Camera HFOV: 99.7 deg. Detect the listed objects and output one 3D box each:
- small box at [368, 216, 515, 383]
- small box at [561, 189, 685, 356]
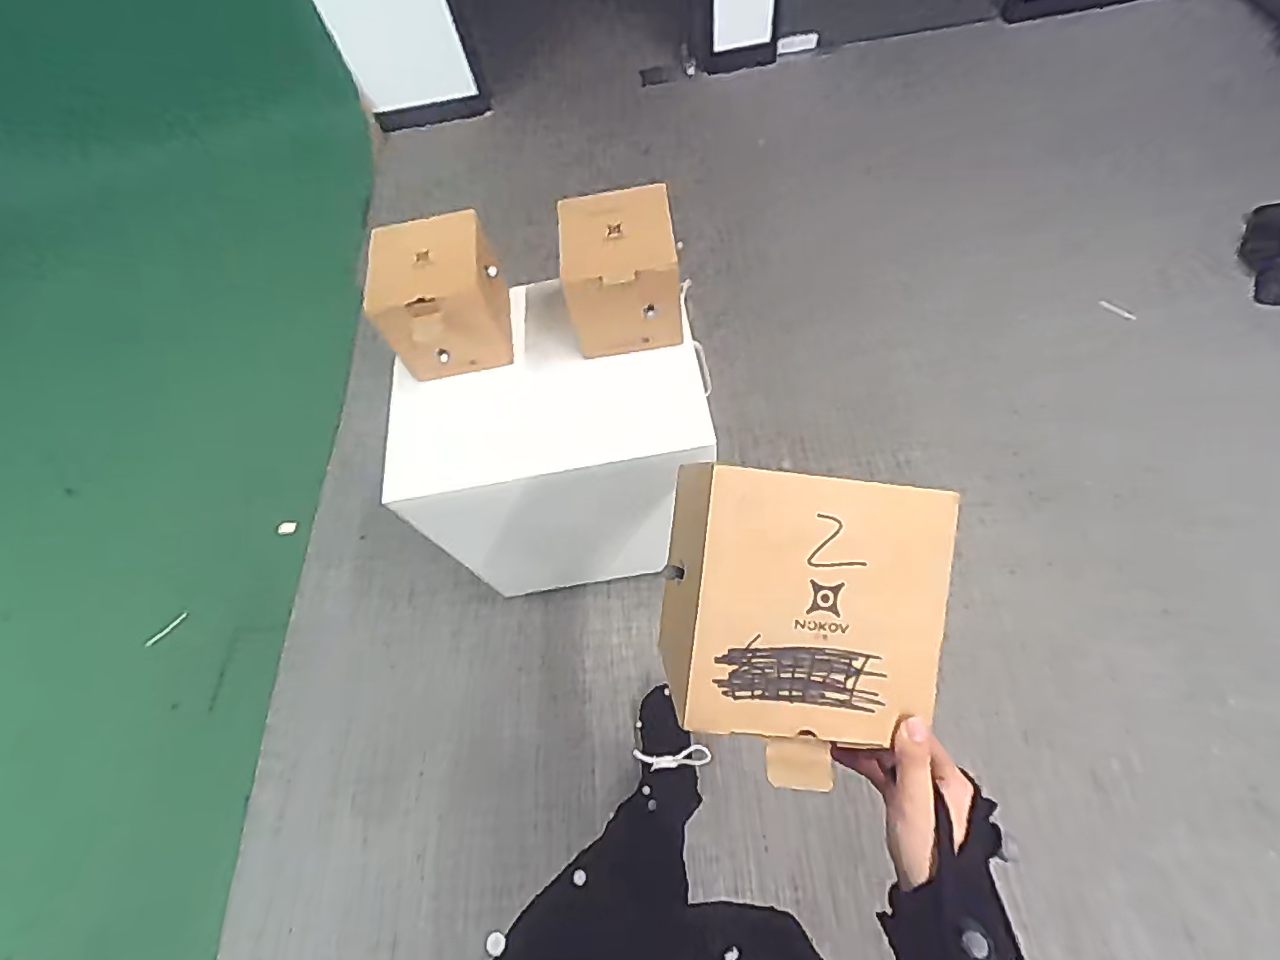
[{"bbox_3d":[-0.306,-0.283,0.867,0.168,0.176,0.179,-10,64,1],"label":"small box"},{"bbox_3d":[-0.023,-0.311,0.844,0.168,0.176,0.179,-7,62,3],"label":"small box"}]
